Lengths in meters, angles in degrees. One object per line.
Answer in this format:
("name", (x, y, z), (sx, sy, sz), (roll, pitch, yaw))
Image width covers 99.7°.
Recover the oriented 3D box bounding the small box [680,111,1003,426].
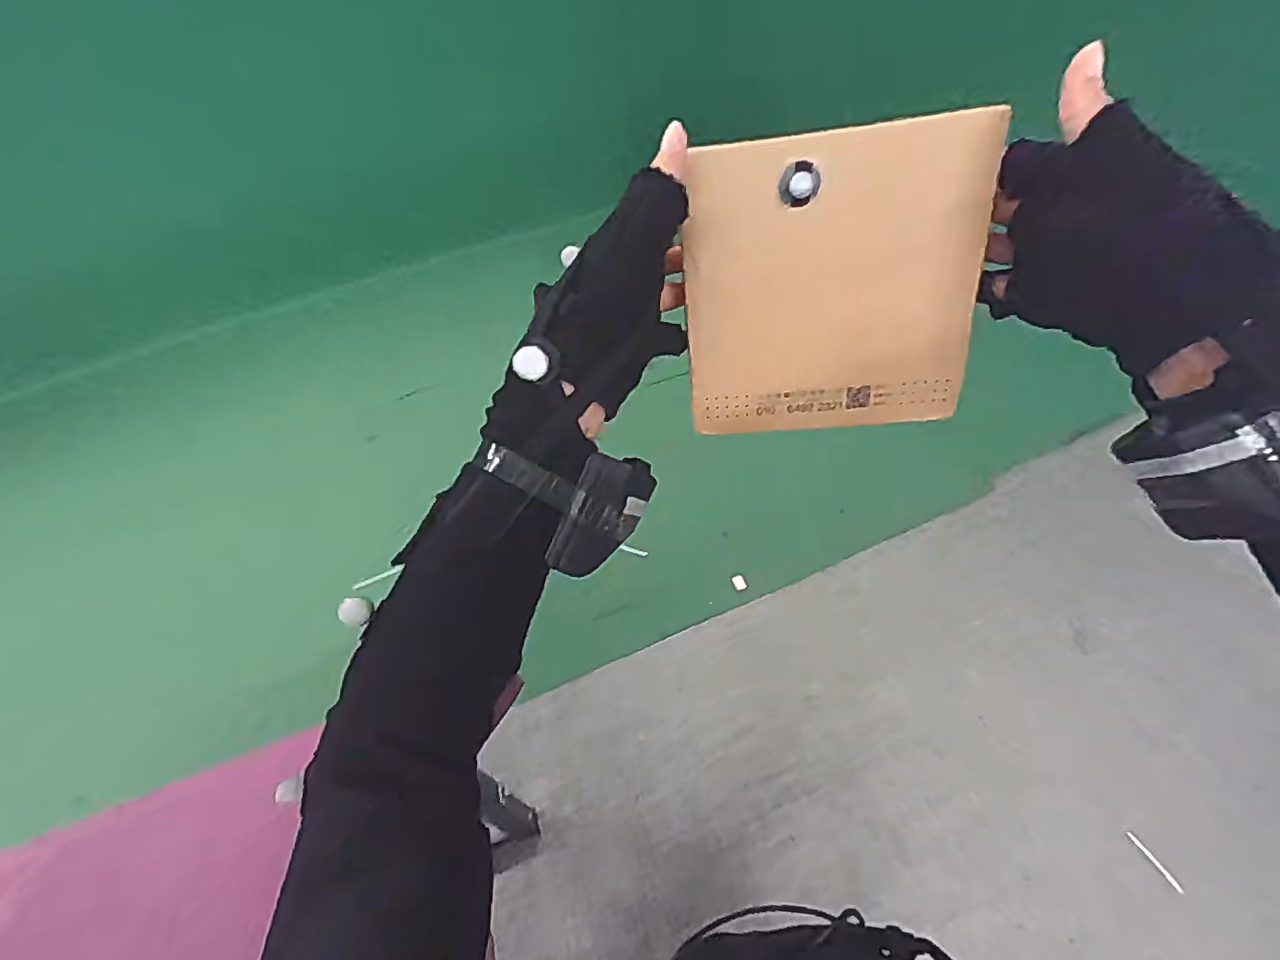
("small box", (0.121, -0.149, 0.392), (0.168, 0.176, 0.179), (-3, 29, 9))
